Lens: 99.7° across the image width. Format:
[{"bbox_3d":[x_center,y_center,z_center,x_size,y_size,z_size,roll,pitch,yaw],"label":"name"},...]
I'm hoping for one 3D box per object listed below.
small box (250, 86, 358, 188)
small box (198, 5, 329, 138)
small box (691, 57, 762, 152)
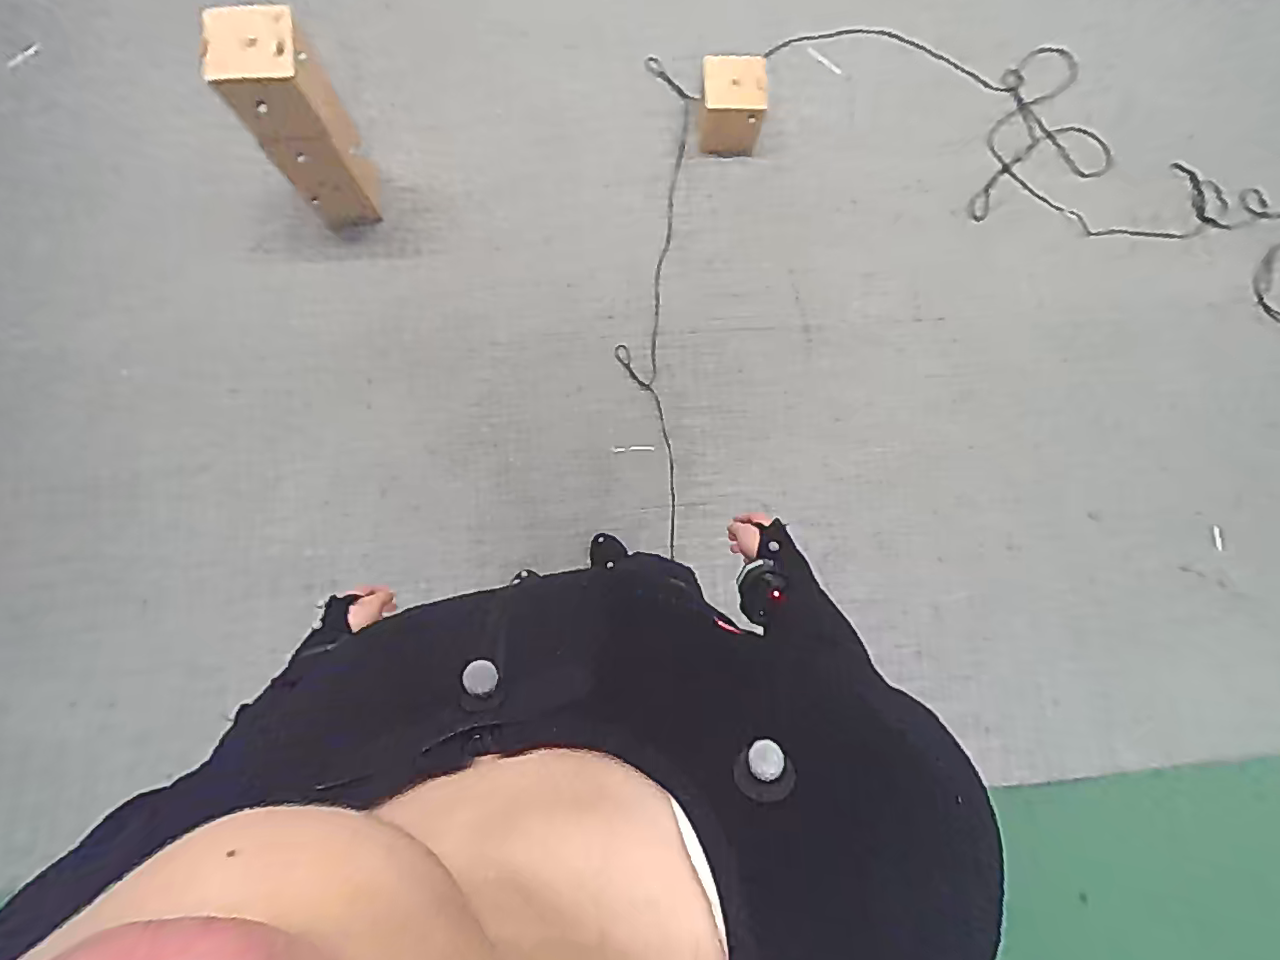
[{"bbox_3d":[-0.829,-0.853,1.342,0.179,0.176,0.168,-6,84,-5],"label":"small box"},{"bbox_3d":[-0.814,-0.881,1.181,0.179,0.176,0.168,-6,84,-4],"label":"small box"},{"bbox_3d":[0.249,-1.101,1.595,0.179,0.176,0.168,-2,83,-4],"label":"small box"}]
